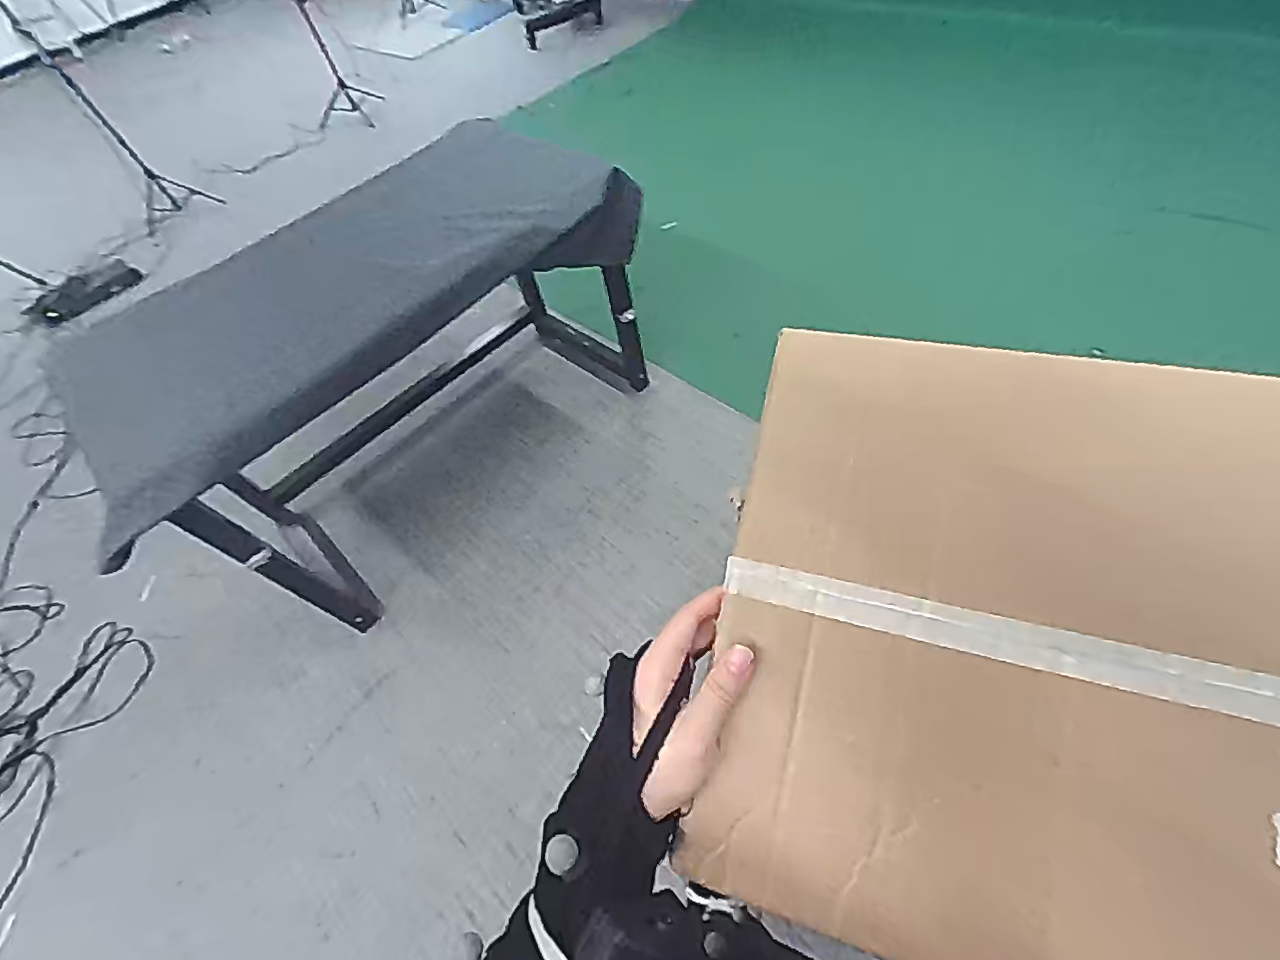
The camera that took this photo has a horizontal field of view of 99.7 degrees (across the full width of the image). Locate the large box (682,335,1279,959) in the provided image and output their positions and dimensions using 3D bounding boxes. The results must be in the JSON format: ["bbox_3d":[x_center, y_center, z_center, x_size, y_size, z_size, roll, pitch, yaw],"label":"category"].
[{"bbox_3d":[0.272,0.120,0.410,0.408,0.320,0.320,11,79,15],"label":"large box"}]
